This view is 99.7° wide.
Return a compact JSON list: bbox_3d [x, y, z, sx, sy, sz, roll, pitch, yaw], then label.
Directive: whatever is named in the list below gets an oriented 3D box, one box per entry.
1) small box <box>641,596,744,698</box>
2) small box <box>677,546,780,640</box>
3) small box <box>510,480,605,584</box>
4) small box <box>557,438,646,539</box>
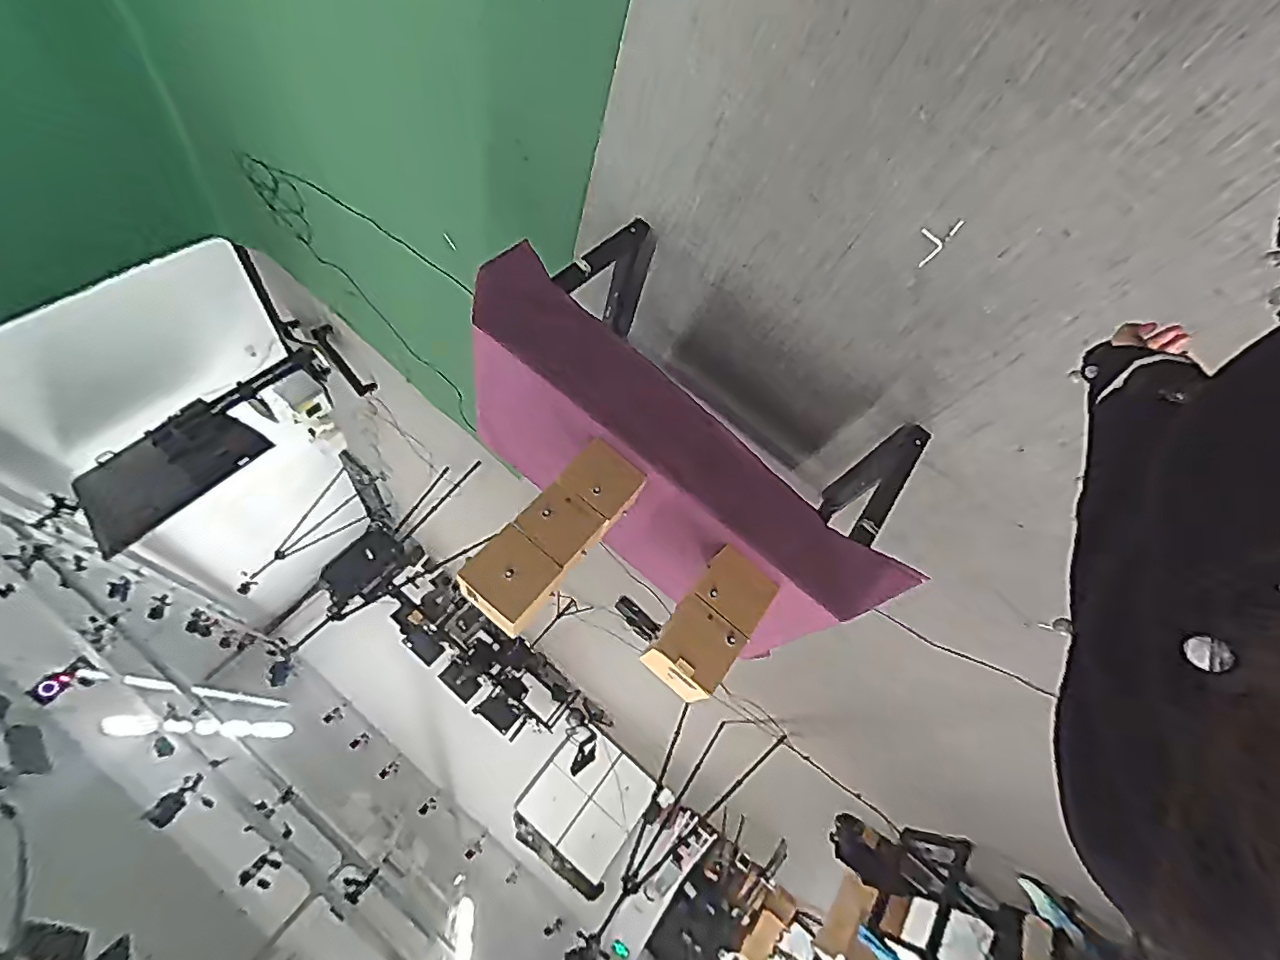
[{"bbox_3d":[0.130,0.407,1.323,0.168,0.176,0.179,40,153,7],"label":"small box"},{"bbox_3d":[0.229,0.301,1.399,0.179,0.176,0.168,40,151,6],"label":"small box"},{"bbox_3d":[-0.208,0.130,1.366,0.168,0.176,0.179,39,152,7],"label":"small box"},{"bbox_3d":[-0.109,0.022,1.438,0.179,0.176,0.168,40,151,4],"label":"small box"}]
